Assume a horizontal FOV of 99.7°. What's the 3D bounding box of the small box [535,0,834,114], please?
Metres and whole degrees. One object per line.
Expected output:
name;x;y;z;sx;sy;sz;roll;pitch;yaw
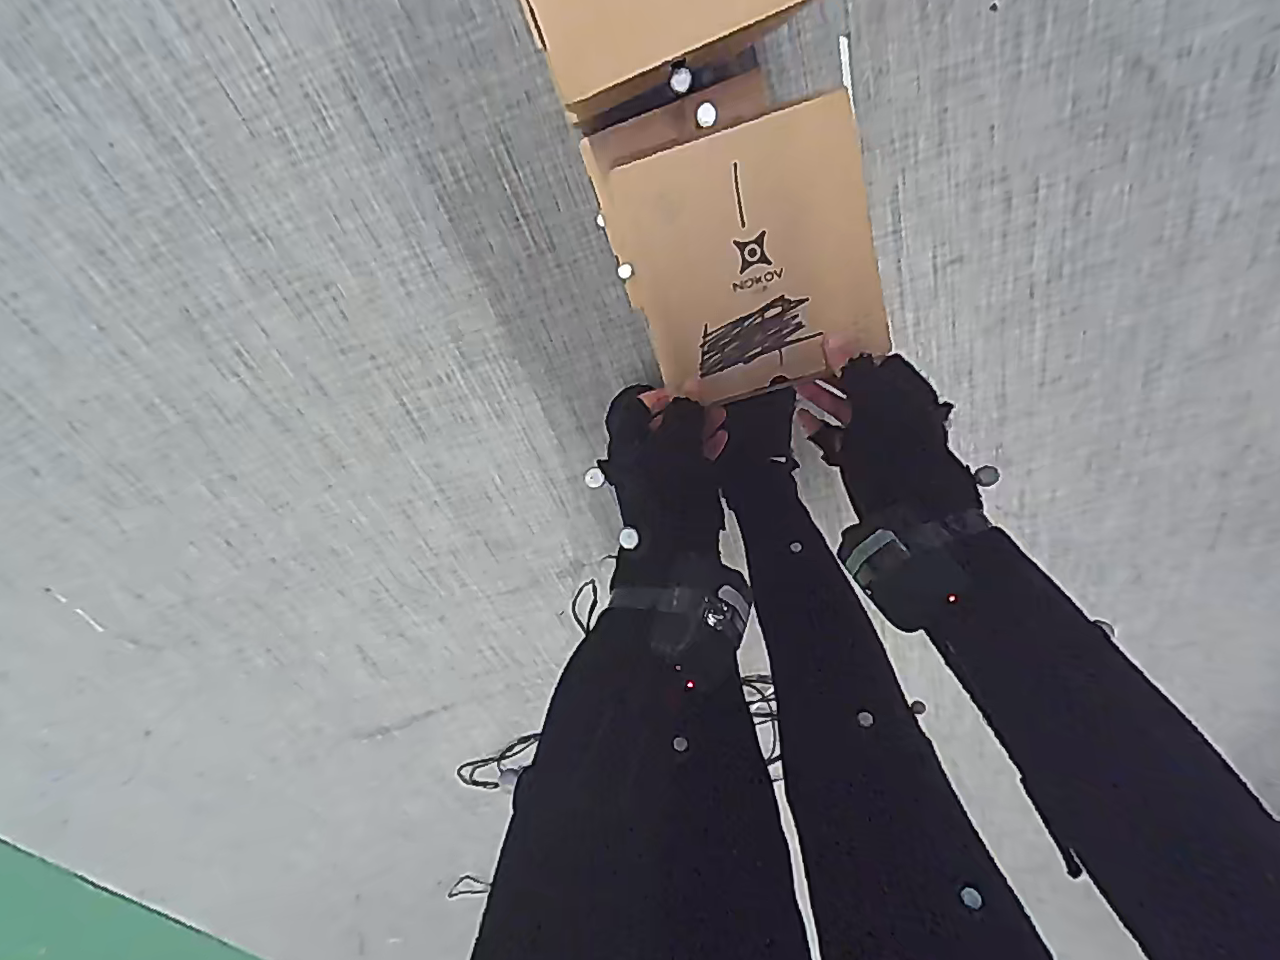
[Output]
small box;0.010;-0.371;0.362;0.179;0.176;0.168;-17;121;11
